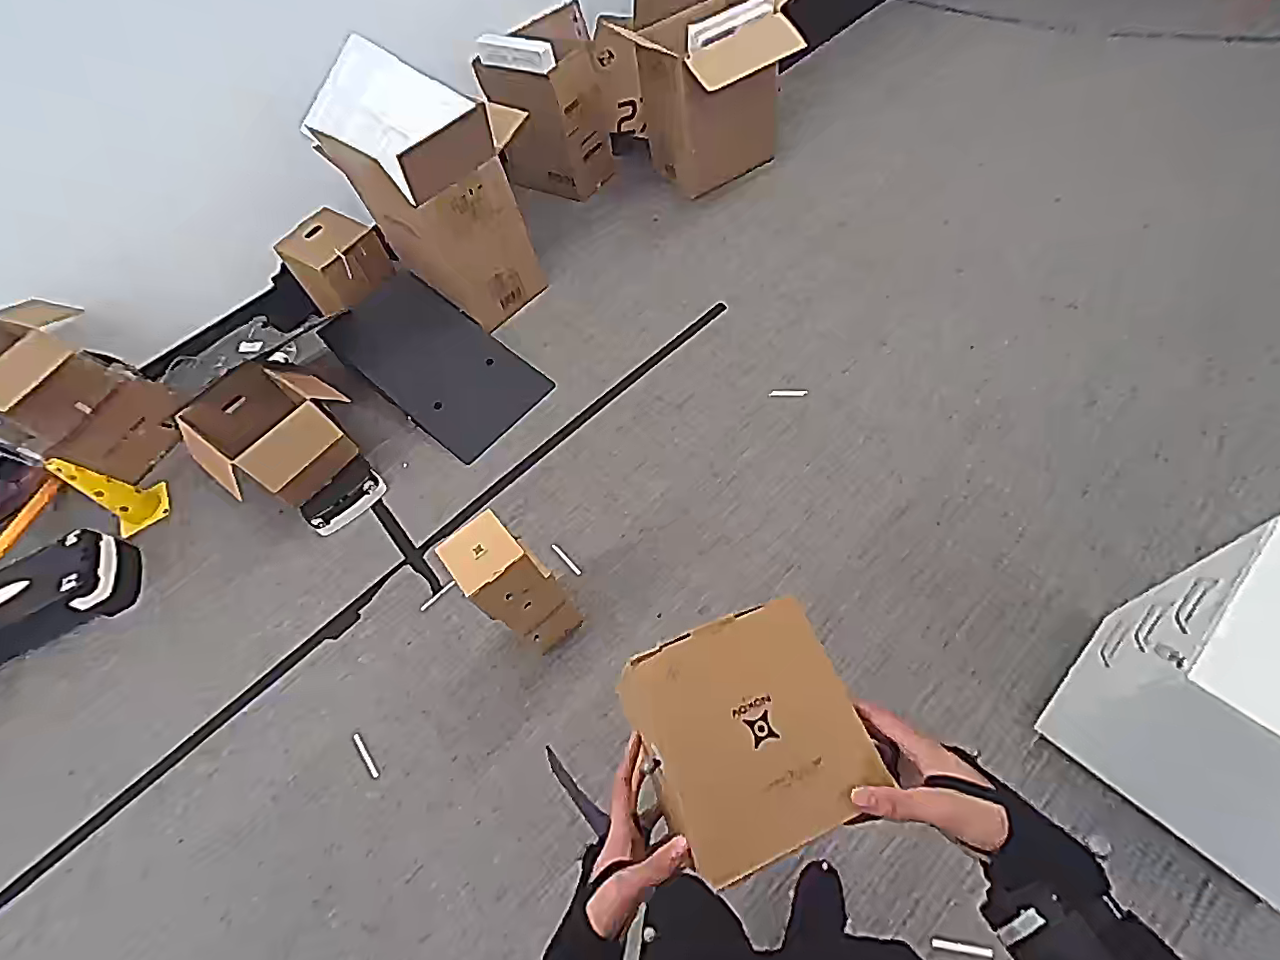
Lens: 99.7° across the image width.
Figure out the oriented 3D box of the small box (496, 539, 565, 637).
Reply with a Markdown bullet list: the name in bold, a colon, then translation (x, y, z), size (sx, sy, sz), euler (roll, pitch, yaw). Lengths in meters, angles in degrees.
- **small box**: translation (-0.333, 0.304, 1.491), size (0.179, 0.176, 0.168), euler (-40, 59, -16)

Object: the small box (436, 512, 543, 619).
- **small box**: translation (-0.371, 0.219, 1.357), size (0.168, 0.176, 0.179), euler (-39, 59, -15)

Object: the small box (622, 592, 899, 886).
- **small box**: translation (0.089, 0.232, 0.504), size (0.168, 0.176, 0.179), euler (-17, 65, -14)
